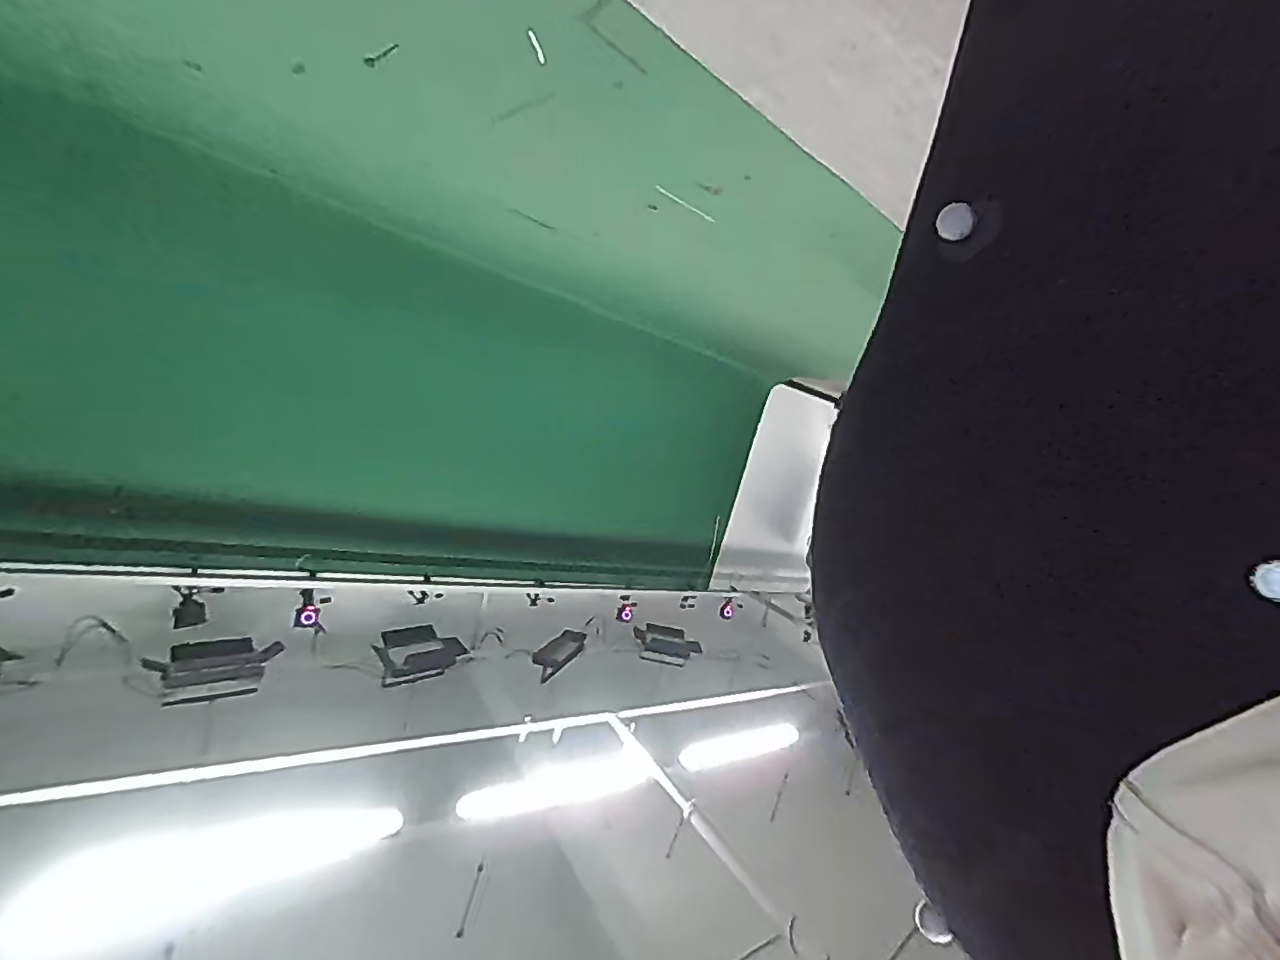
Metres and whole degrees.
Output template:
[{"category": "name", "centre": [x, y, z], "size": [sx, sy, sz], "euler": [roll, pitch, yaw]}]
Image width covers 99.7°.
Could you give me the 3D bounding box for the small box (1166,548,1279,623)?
[{"category": "small box", "centre": [1.718, 0.305, 1.596], "size": [0.168, 0.176, 0.179], "euler": [11, -171, -34]}]
